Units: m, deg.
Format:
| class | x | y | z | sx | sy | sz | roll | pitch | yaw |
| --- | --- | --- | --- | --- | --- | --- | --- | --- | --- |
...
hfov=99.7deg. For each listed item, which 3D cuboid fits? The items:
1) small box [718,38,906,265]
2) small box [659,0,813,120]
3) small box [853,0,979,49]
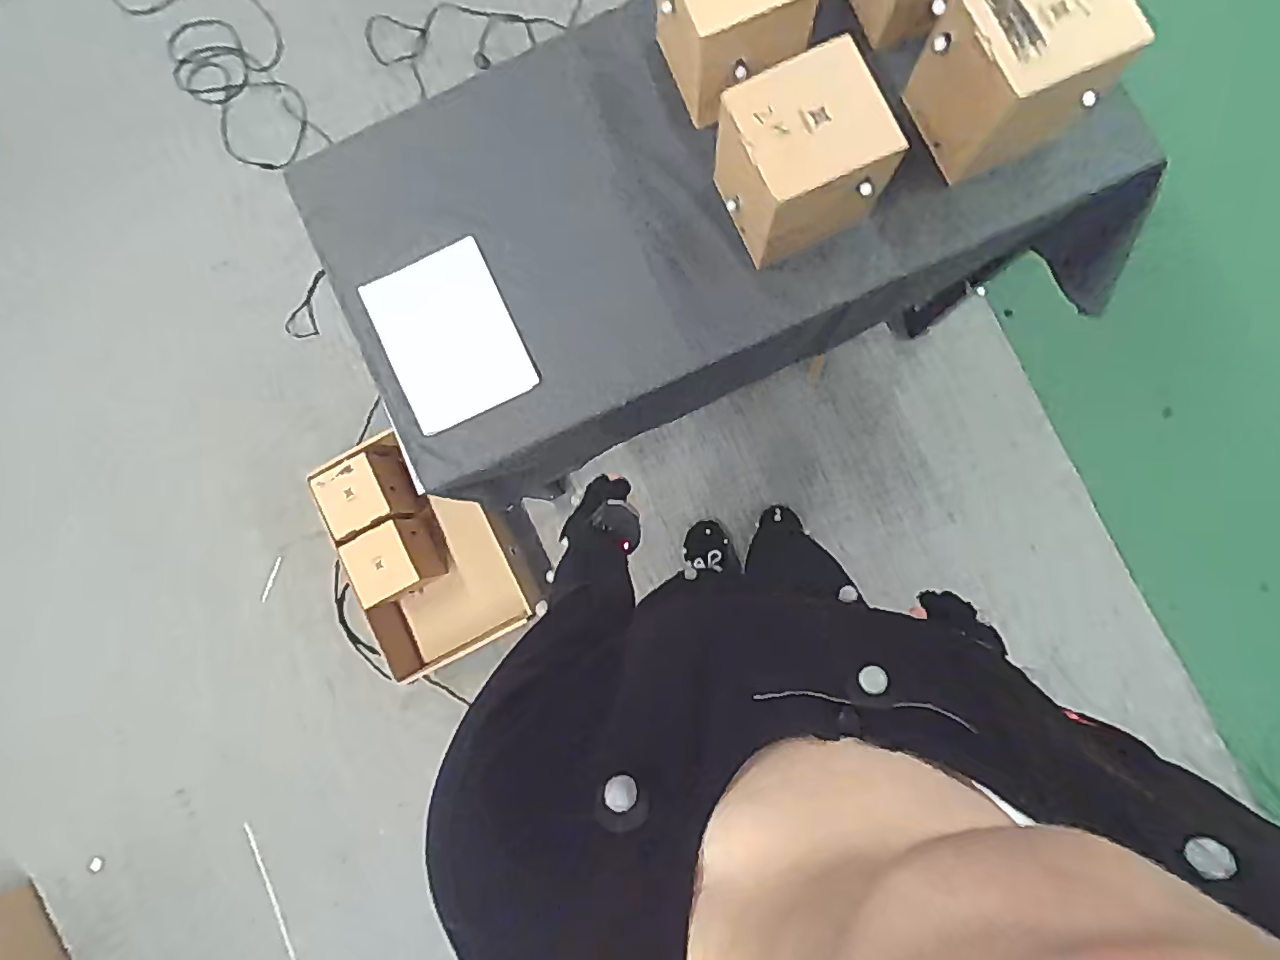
| class | x | y | z | sx | sy | sz | roll | pitch | yaw |
| --- | --- | --- | --- | --- | --- | --- | --- | --- | --- |
| small box | 0.218 | -0.431 | 0.739 | 0.179 | 0.176 | 0.168 | -23 | 83 | 3 |
| small box | 0.130 | -0.658 | 0.769 | 0.168 | 0.176 | 0.179 | -21 | 84 | 3 |
| small box | 0.398 | -0.767 | 0.753 | 0.168 | 0.176 | 0.179 | -21 | 84 | 3 |
